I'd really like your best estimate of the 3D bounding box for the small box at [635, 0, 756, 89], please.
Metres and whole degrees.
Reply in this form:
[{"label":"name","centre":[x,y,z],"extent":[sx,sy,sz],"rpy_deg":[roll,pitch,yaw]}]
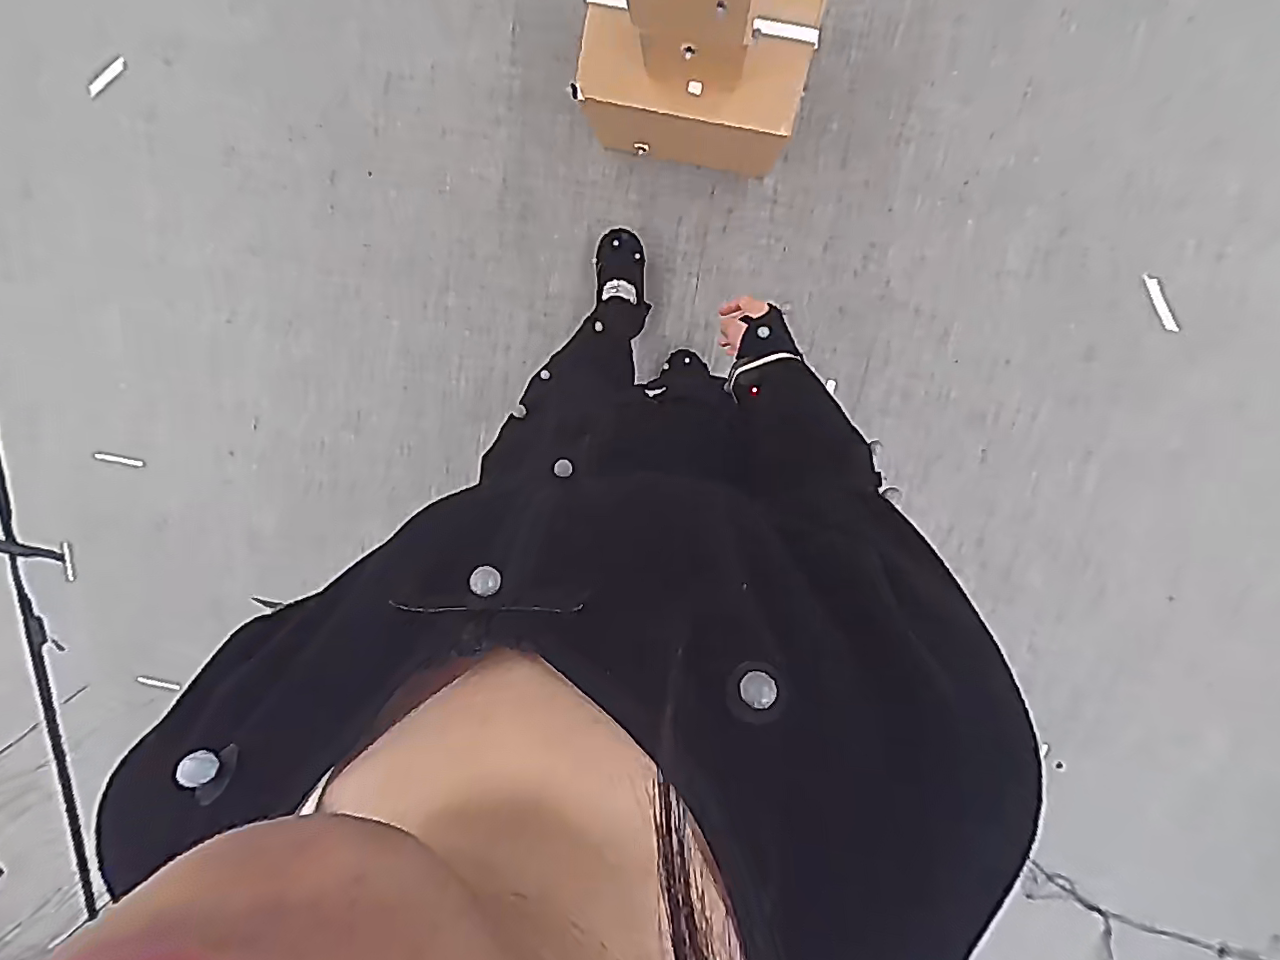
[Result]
[{"label":"small box","centre":[0.096,-0.764,0.871],"extent":[0.179,0.176,0.168],"rpy_deg":[10,108,2]}]
